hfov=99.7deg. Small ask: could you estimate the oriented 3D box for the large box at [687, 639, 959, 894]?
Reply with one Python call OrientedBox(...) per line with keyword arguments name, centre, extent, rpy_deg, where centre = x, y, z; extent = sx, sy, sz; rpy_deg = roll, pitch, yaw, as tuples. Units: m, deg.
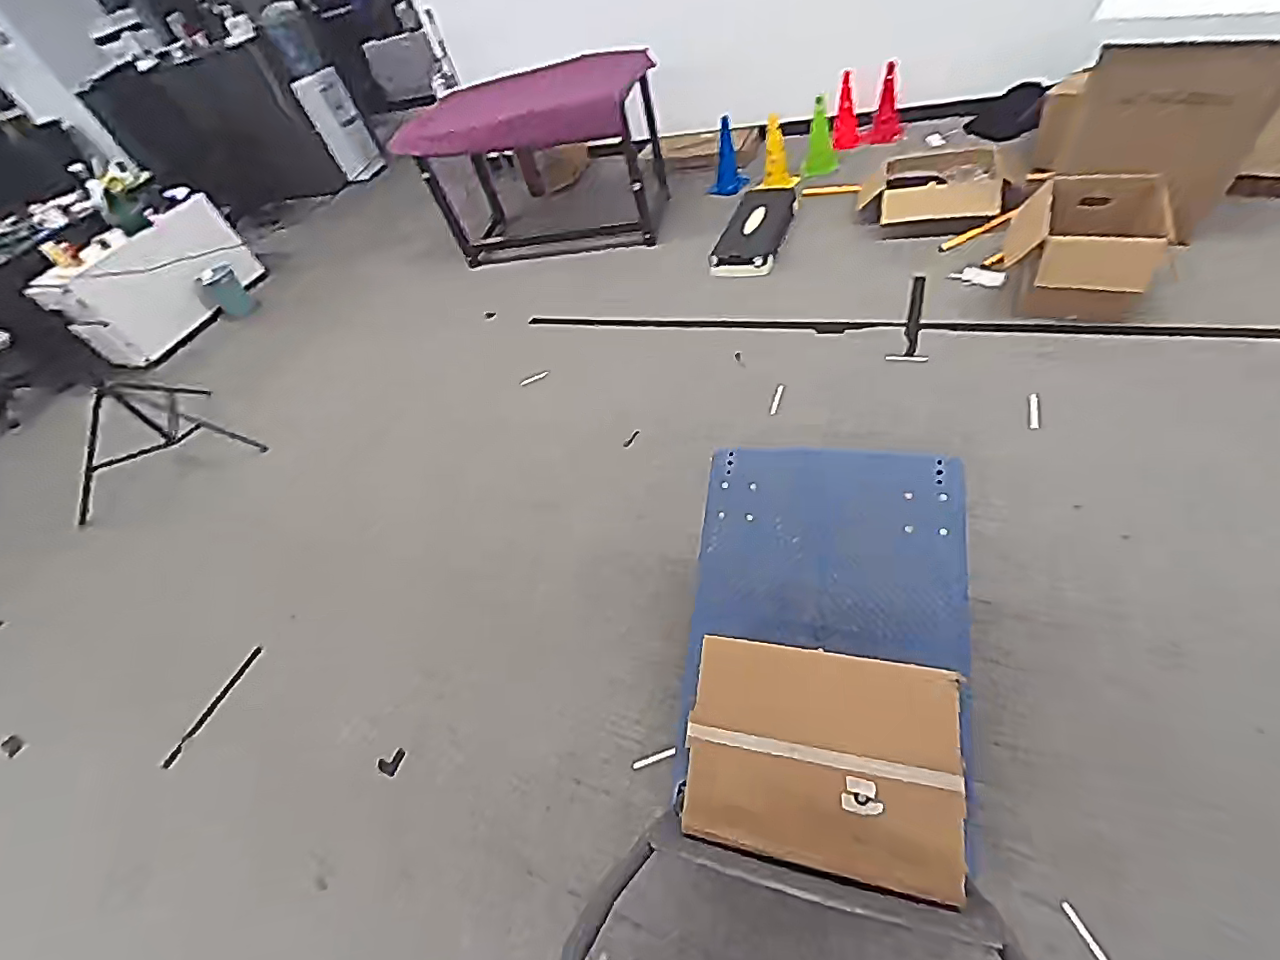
OrientedBox(name="large box", centre=(0.322, 0.493, 1.005), extent=(0.408, 0.320, 0.320), rpy_deg=(3, 70, 18))
